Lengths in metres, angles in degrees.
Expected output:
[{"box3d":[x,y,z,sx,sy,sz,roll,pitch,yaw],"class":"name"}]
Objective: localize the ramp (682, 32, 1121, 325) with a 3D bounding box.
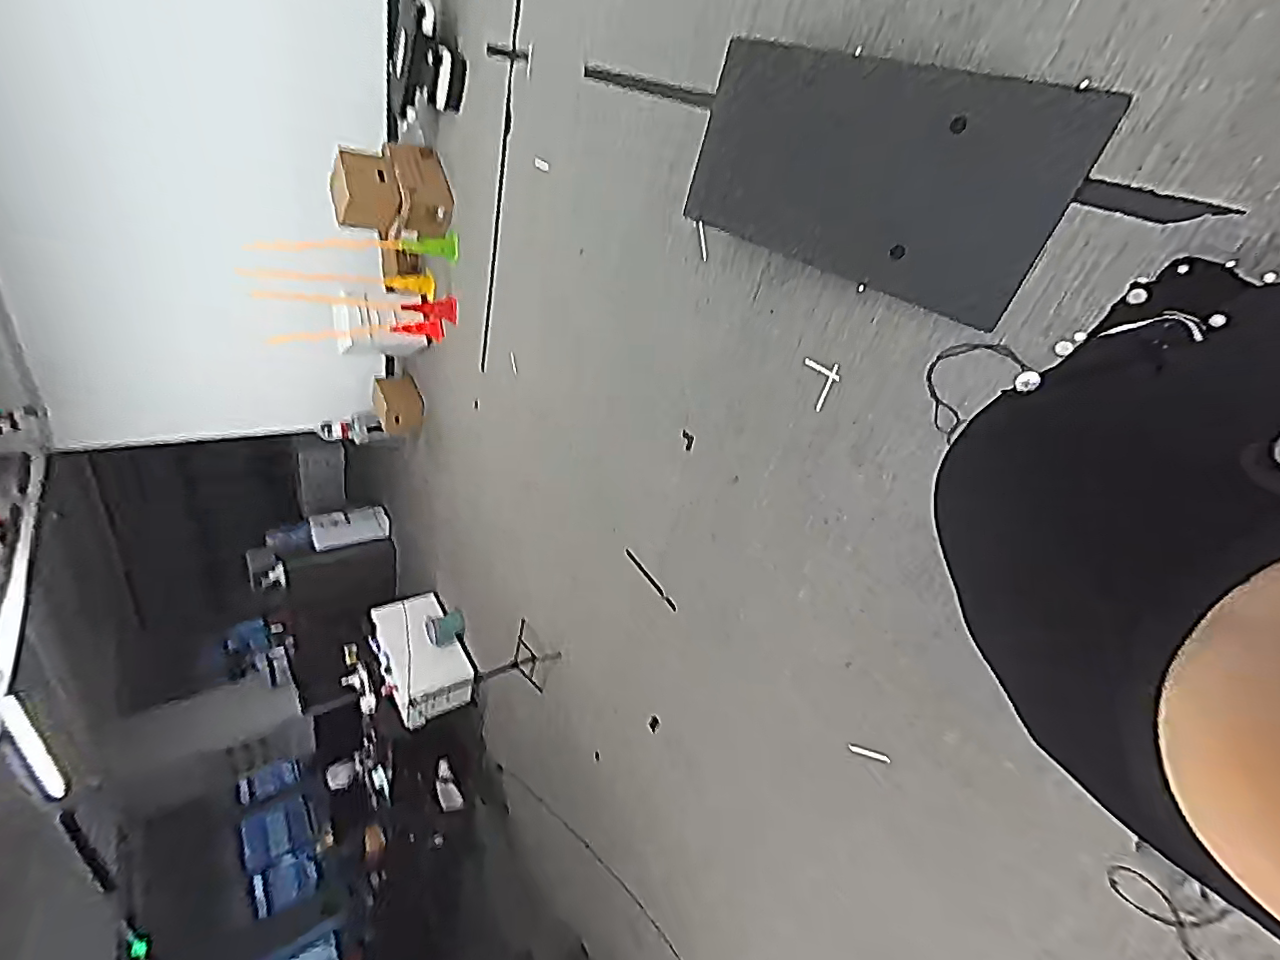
[{"box3d":[0.555,-0.829,1.431,0.991,0.206,0.509,42,128,38],"class":"ramp"}]
